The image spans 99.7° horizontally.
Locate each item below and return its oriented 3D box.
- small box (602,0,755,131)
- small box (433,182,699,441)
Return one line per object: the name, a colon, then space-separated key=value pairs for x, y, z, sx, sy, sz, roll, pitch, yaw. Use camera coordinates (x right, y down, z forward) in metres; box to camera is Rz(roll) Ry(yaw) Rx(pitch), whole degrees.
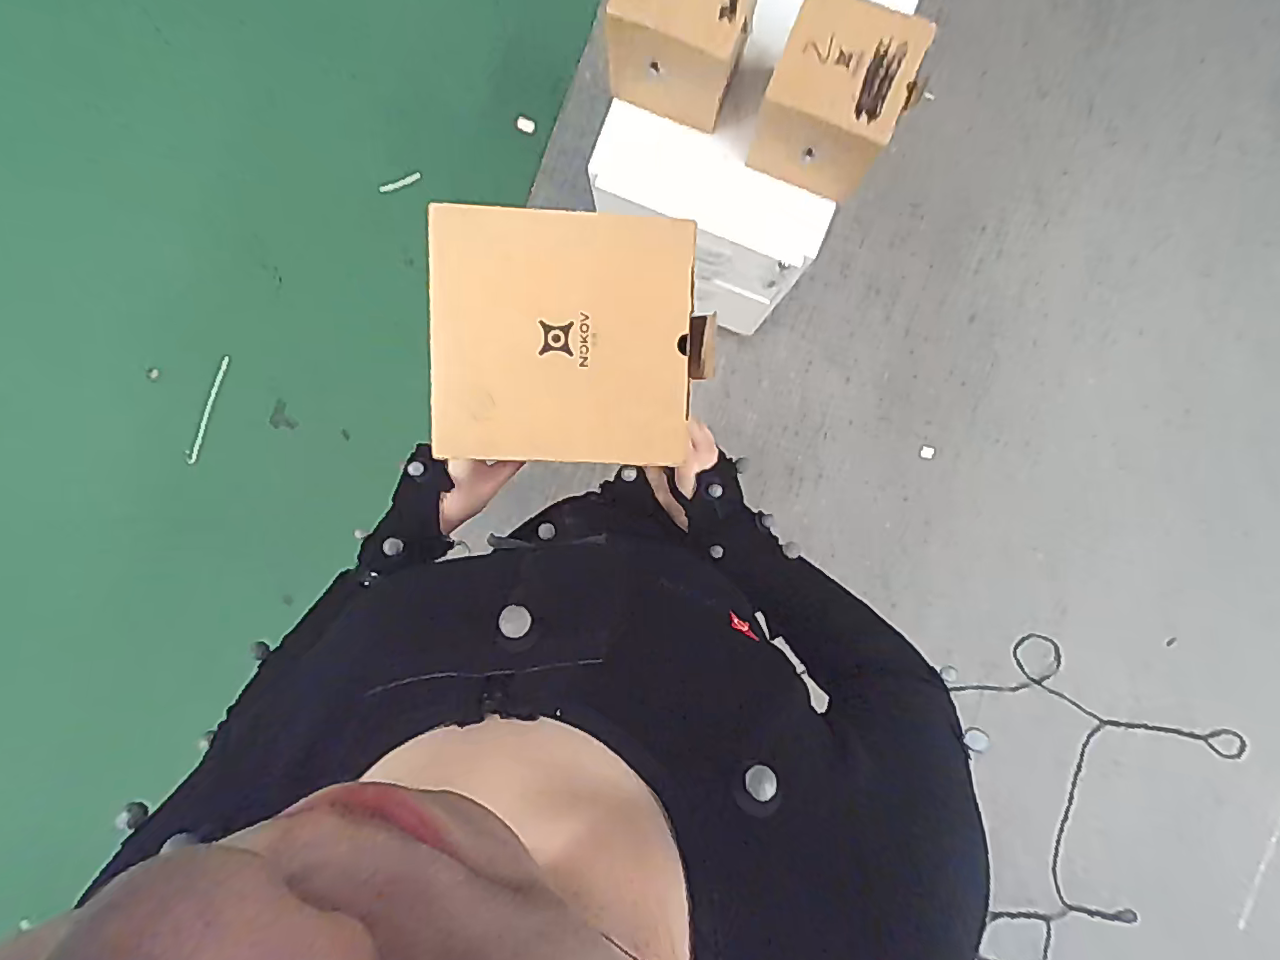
small box: x=0.058 y=-0.654 z=0.785 sx=0.179 sy=0.176 sz=0.168 roll=20 pitch=92 yaw=-1
small box: x=-0.056 y=-0.117 z=0.442 sx=0.179 sy=0.176 sz=0.168 roll=1 pitch=96 yaw=-6
